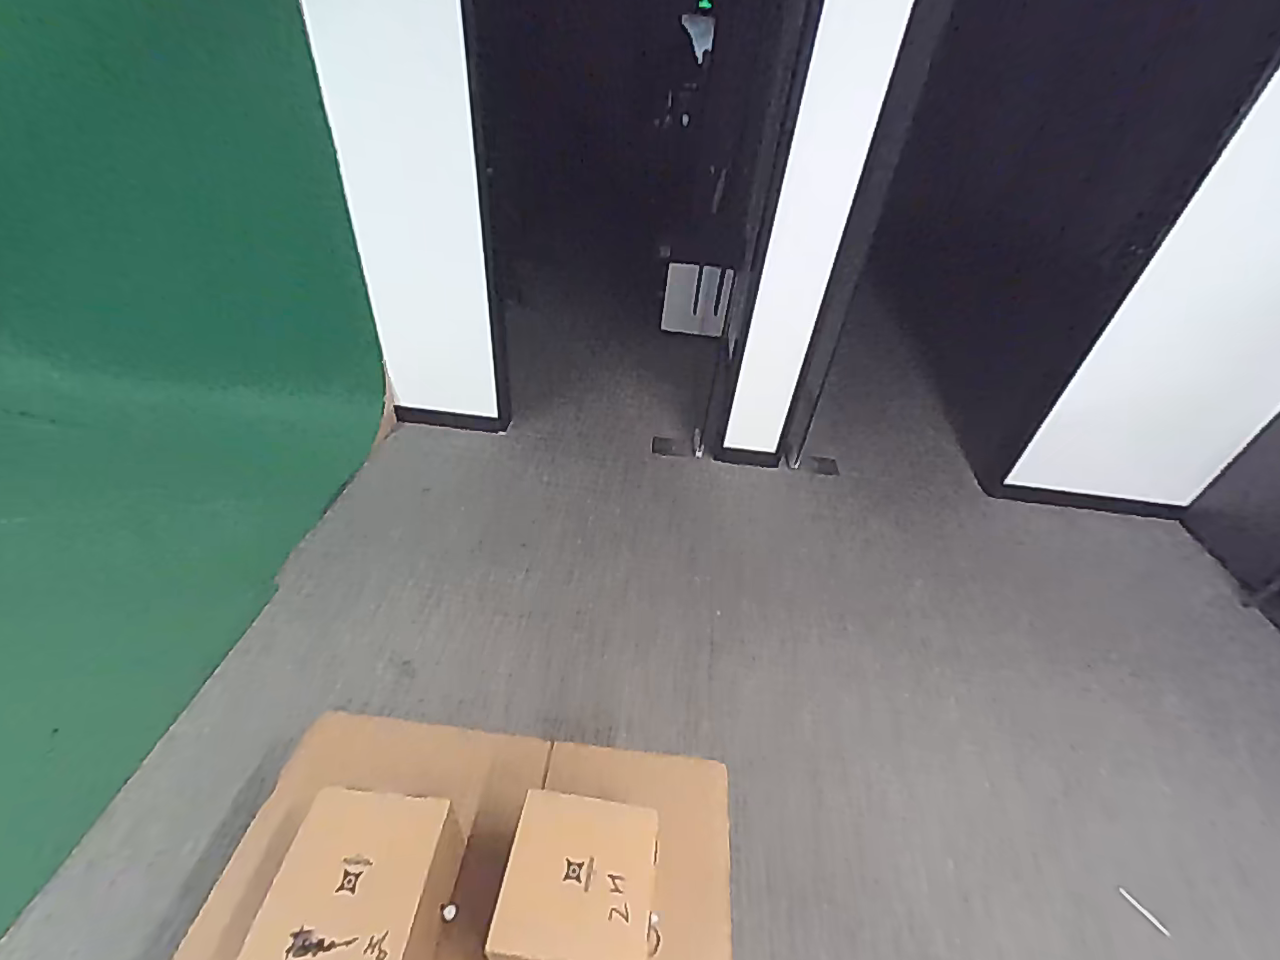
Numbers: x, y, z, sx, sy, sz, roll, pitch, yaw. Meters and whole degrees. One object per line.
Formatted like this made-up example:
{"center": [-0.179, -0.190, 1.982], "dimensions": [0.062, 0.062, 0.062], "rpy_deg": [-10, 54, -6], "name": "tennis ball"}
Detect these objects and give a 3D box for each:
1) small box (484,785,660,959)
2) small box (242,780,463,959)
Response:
{"center": [-0.075, 0.518, 0.682], "dimensions": [0.179, 0.176, 0.168], "rpy_deg": [8, 39, 4], "name": "small box"}
{"center": [-0.327, 0.503, 0.663], "dimensions": [0.168, 0.176, 0.179], "rpy_deg": [5, 37, 1], "name": "small box"}
